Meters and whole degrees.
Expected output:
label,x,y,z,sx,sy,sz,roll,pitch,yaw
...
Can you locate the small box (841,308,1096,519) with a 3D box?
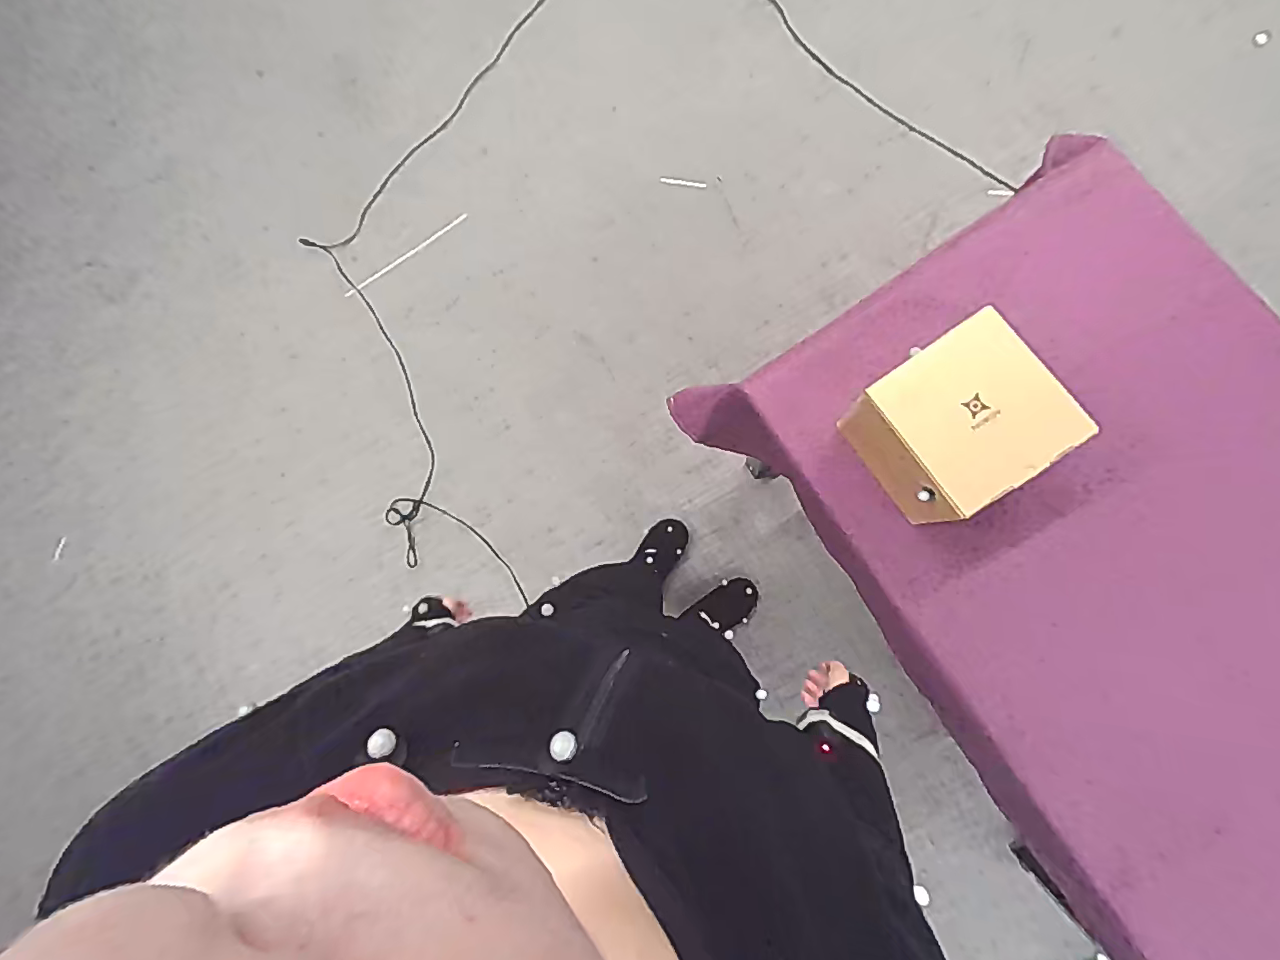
label,x,y,z,sx,sy,sz,roll,pitch,yaw
small box,0.373,-0.066,0.658,0.168,0.176,0.179,-34,80,4
